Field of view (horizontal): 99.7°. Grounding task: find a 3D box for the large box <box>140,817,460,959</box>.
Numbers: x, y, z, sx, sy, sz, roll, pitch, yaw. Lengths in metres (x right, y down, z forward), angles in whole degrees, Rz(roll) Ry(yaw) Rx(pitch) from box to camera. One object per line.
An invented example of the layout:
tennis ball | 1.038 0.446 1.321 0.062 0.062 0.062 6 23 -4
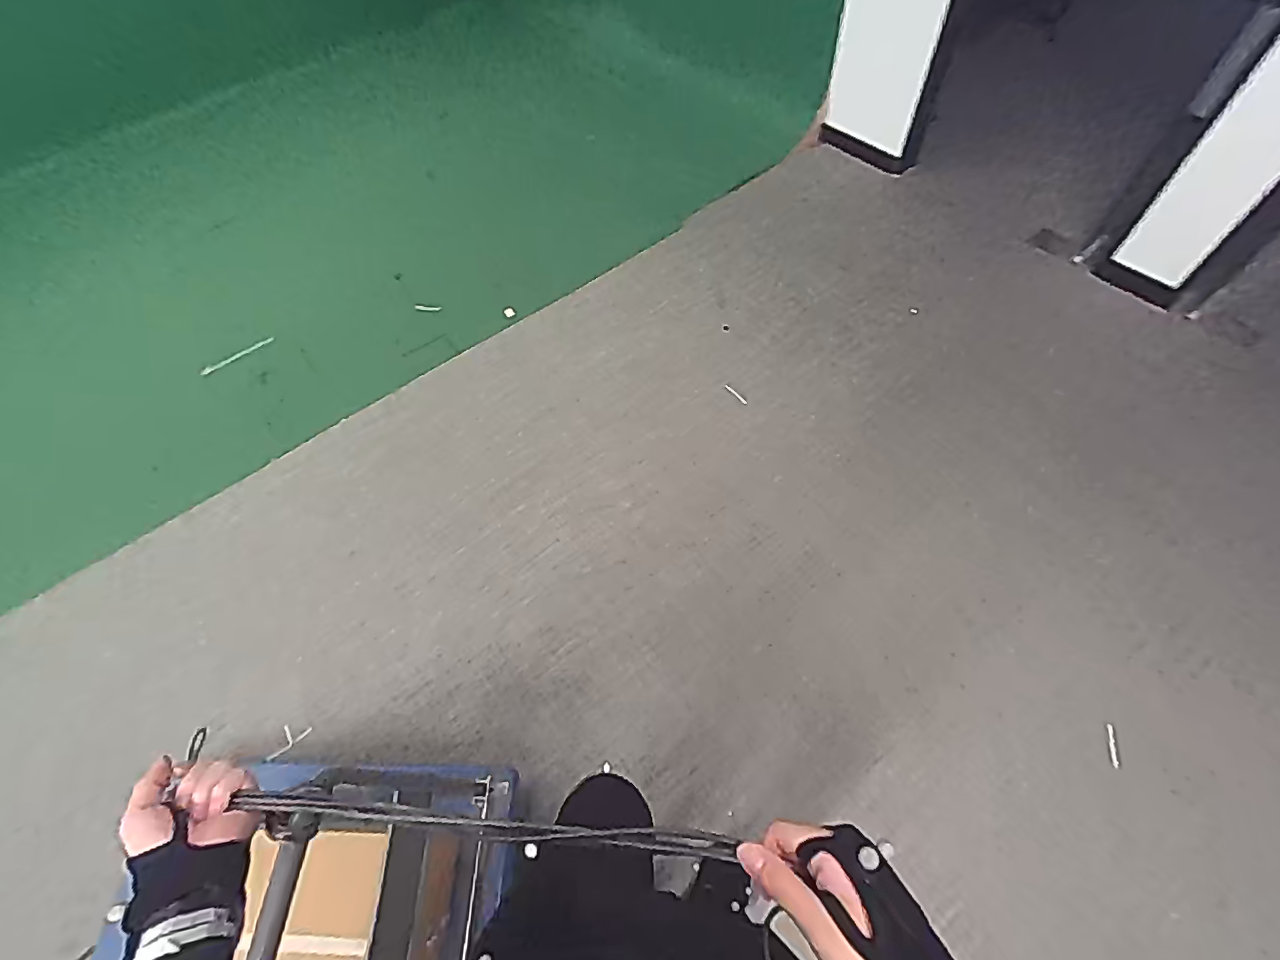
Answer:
large box | -0.605 0.821 1.016 0.408 0.320 0.320 -2 59 6
